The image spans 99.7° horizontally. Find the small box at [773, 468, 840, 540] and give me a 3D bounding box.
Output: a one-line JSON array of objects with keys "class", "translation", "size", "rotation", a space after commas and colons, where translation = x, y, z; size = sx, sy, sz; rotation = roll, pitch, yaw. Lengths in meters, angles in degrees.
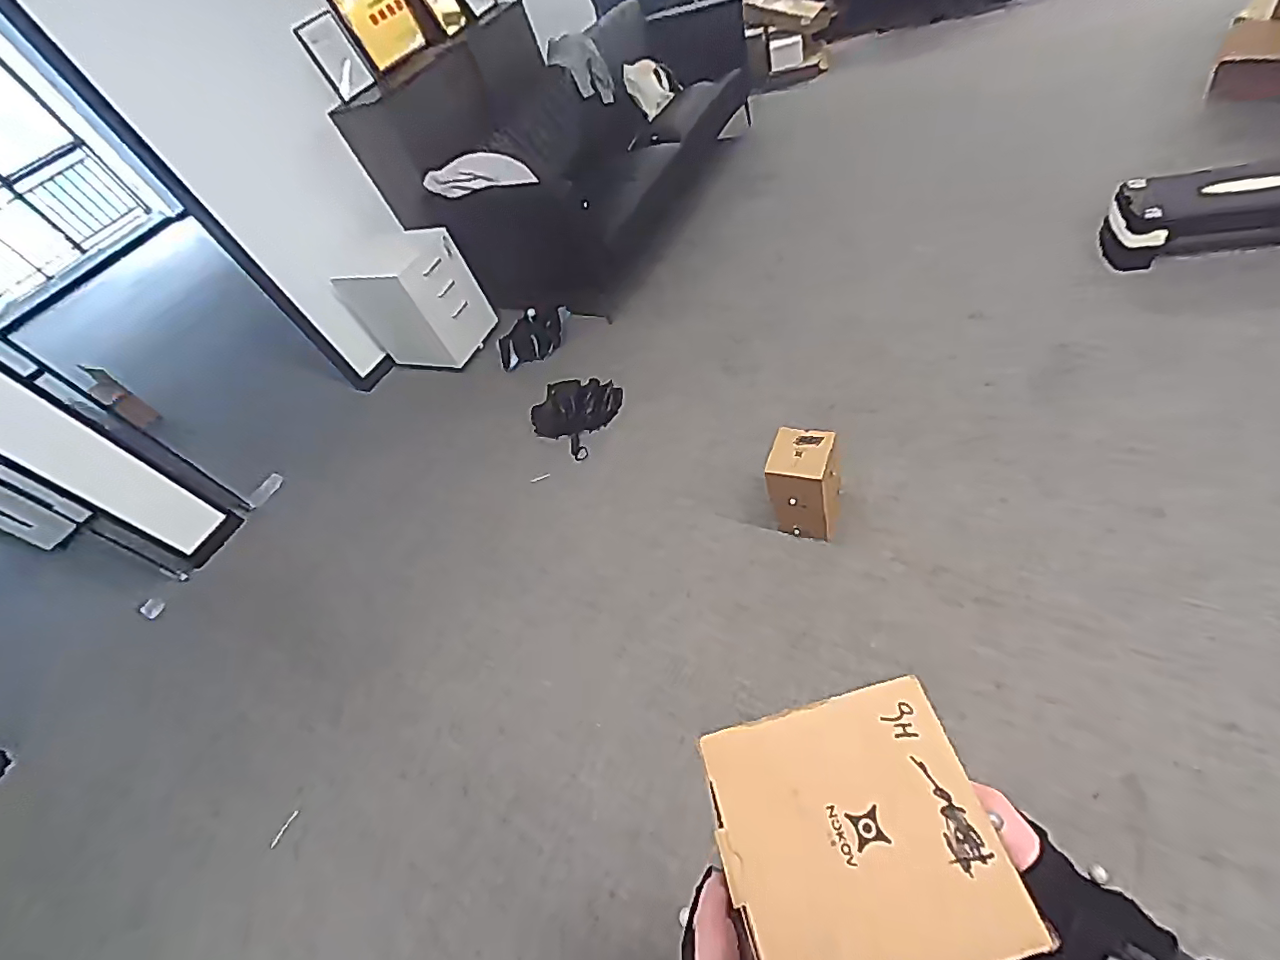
[{"class": "small box", "translation": [0.537, 0.067, 1.730], "size": [0.168, 0.176, 0.179], "rotation": [9, 58, 30]}]

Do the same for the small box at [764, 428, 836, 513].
[{"class": "small box", "translation": [0.481, -0.028, 1.607], "size": [0.168, 0.176, 0.179], "rotation": [9, 57, 29]}]

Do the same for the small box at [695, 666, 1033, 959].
[{"class": "small box", "translation": [0.156, 0.274, 0.441], "size": [0.179, 0.176, 0.168], "rotation": [-16, 57, 1]}]
